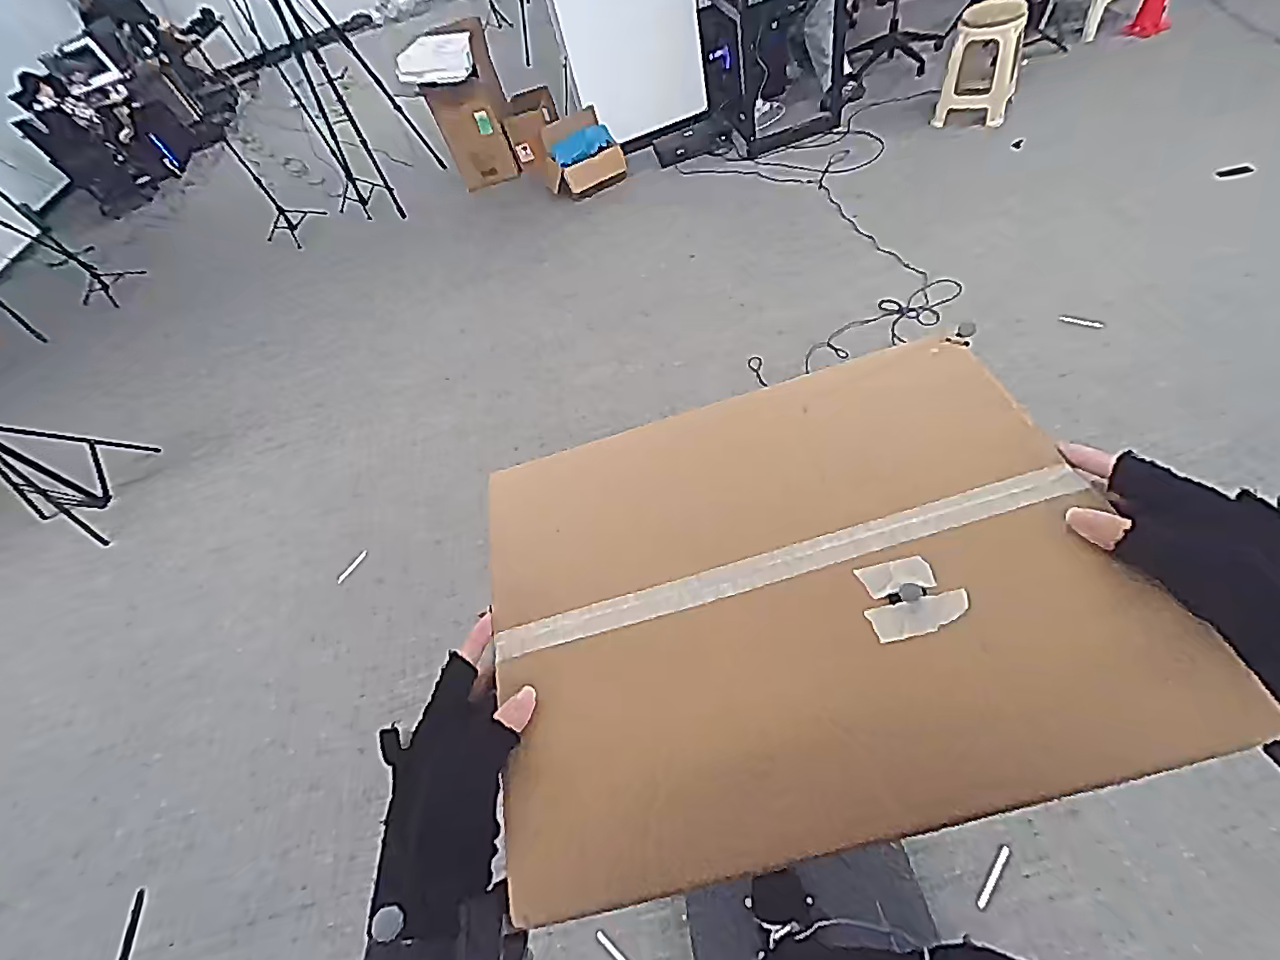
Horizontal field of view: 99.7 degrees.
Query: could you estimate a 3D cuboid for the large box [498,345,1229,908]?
[{"bbox_3d":[0.125,0.144,0.501,0.408,0.320,0.320,-17,55,3],"label":"large box"}]
